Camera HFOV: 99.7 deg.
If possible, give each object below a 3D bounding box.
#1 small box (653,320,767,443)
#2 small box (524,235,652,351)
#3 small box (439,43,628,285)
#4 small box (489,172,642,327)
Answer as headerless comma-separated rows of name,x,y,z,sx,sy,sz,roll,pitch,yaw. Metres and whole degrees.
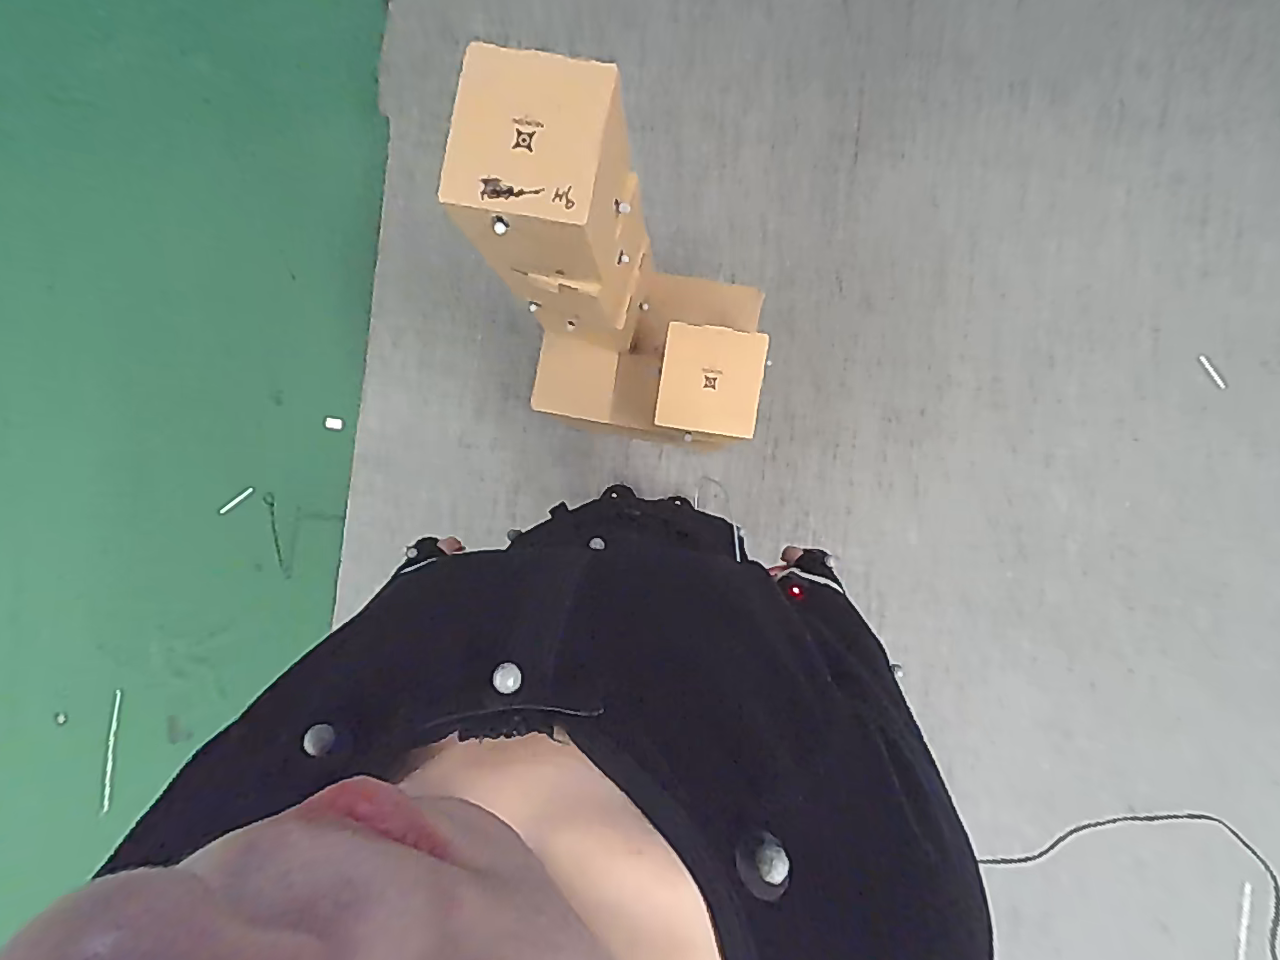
small box,0.120,-0.165,0.962,0.168,0.176,0.179,9,90,4
small box,-0.084,-0.348,0.979,0.179,0.176,0.168,17,91,3
small box,-0.113,-0.364,0.651,0.168,0.176,0.179,12,89,4
small box,-0.099,-0.353,0.815,0.168,0.176,0.179,19,89,4
